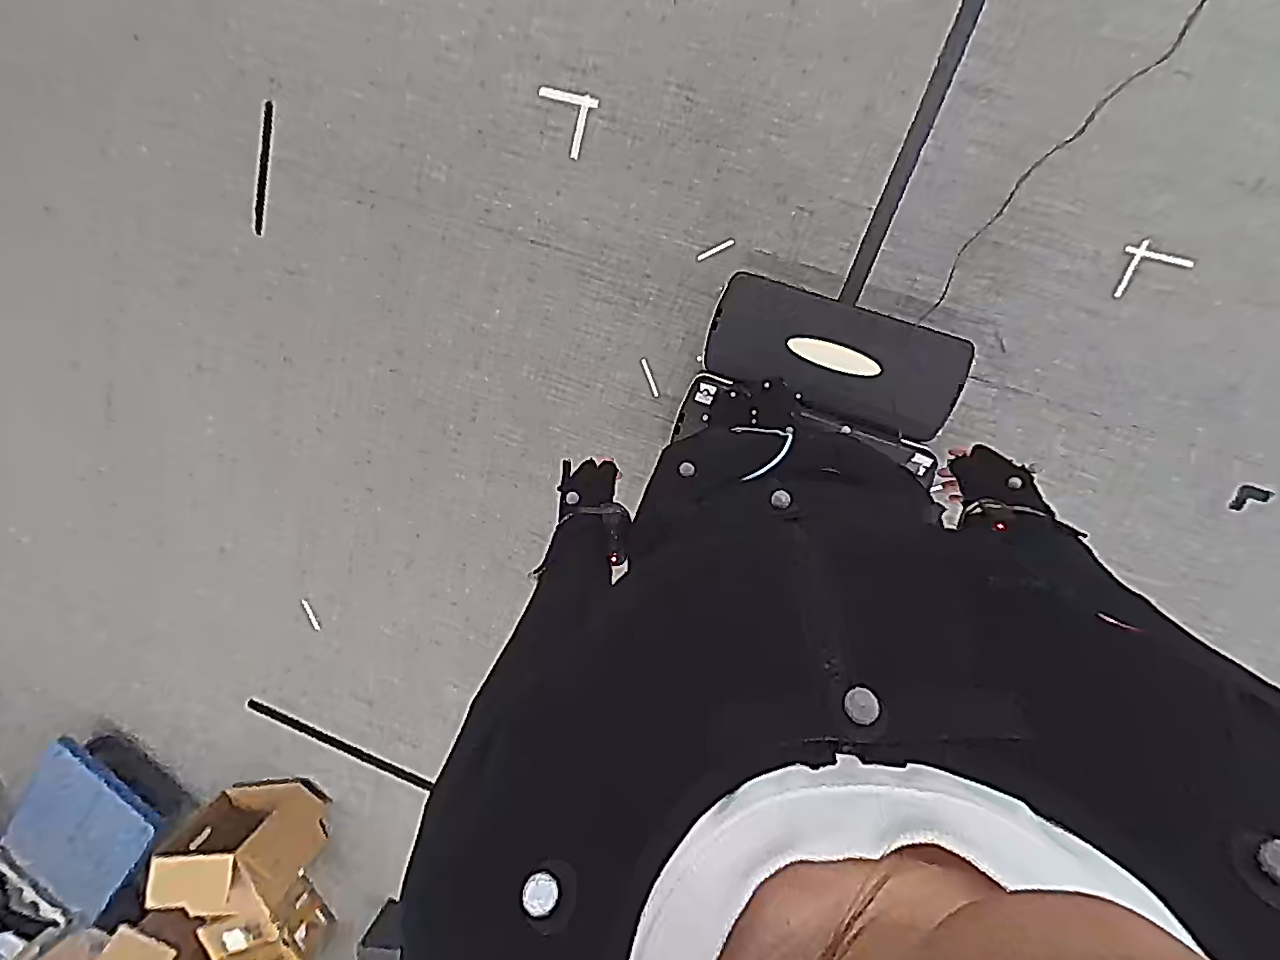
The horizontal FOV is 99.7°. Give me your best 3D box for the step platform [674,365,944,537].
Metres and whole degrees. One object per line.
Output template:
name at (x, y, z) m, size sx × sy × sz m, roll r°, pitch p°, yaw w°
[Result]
step platform at (0.441, -0.087, 1.485) m, size 0.684 × 0.204 × 0.286 m, roll 19°, pitch 105°, yaw 8°
